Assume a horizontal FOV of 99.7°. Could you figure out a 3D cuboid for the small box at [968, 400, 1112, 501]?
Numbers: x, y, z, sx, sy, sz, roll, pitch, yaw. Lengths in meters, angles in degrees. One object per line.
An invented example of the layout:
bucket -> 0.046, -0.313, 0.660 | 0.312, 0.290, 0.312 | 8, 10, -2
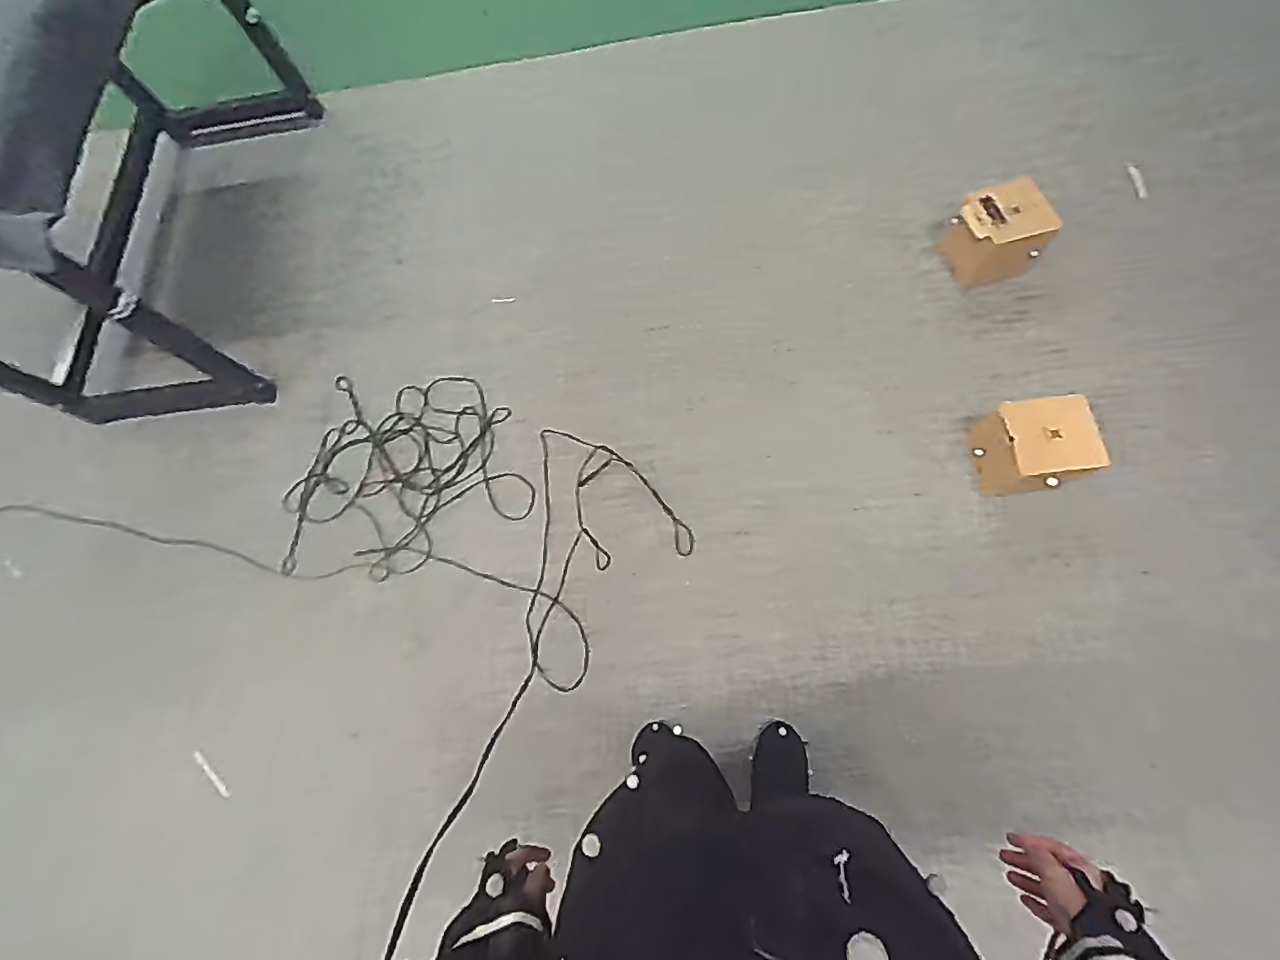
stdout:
small box -> 0.873, -0.059, 1.200 | 0.179, 0.176, 0.168 | -7, 71, 5
